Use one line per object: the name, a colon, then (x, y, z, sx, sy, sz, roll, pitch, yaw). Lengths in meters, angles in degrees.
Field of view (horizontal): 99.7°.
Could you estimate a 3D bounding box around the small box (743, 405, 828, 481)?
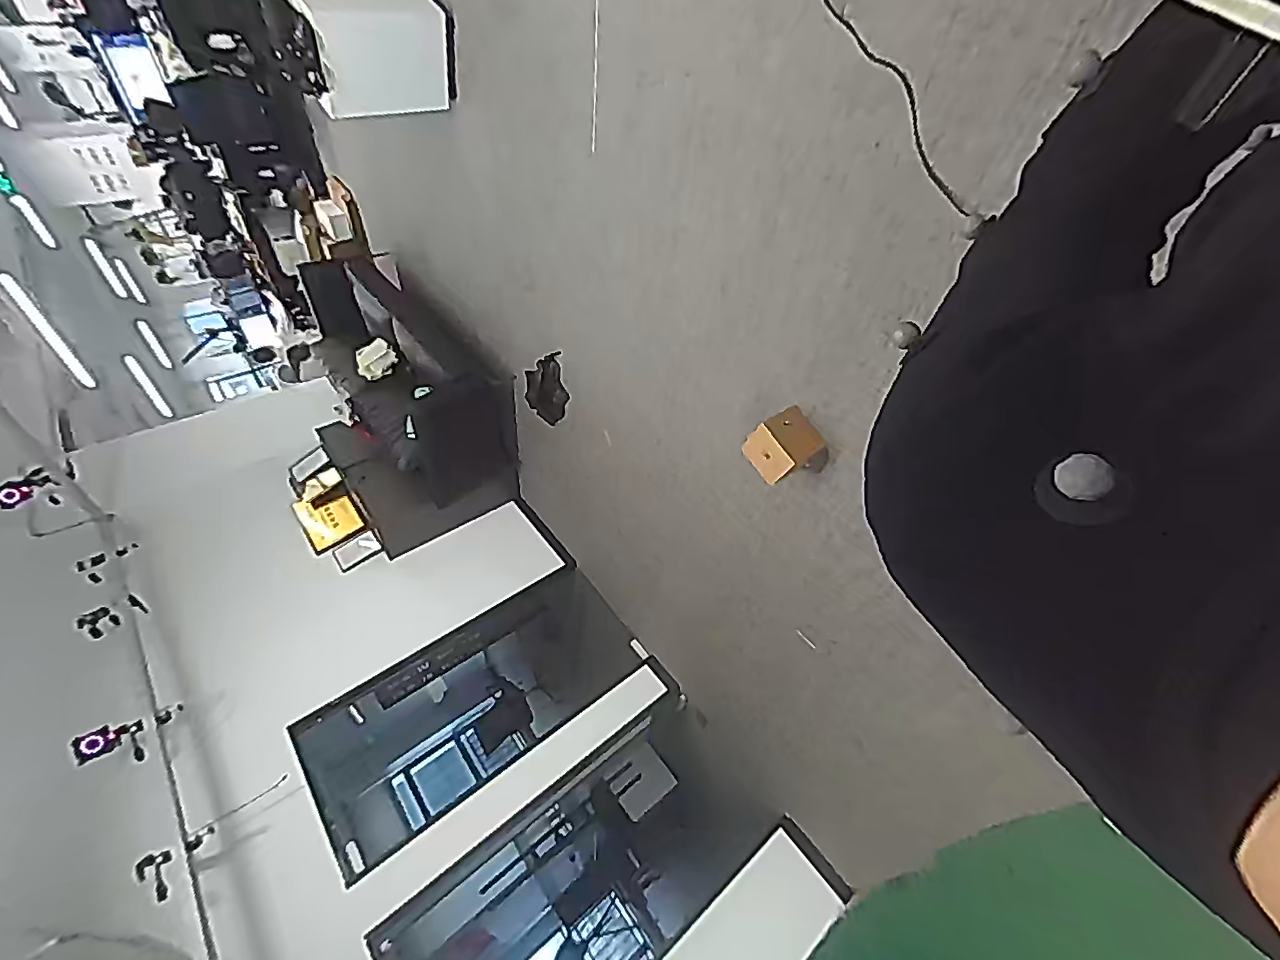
small box: (0.487, -0.132, 1.811, 0.179, 0.176, 0.168, 53, 151, 13)
